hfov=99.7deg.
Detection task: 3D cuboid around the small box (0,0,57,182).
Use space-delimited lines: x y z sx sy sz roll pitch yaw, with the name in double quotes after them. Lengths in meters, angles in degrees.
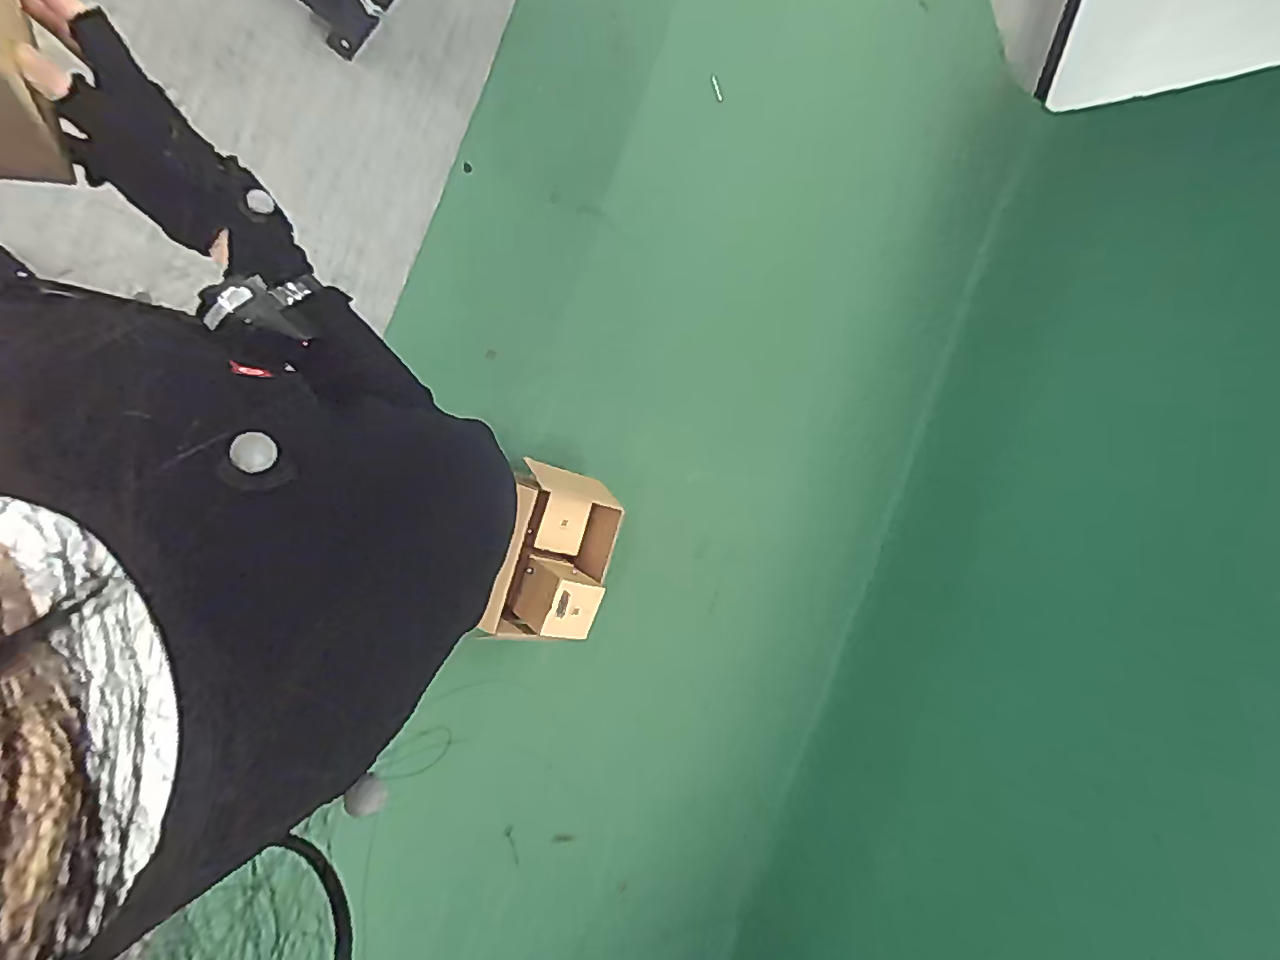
-0.424 -0.268 0.249 0.168 0.176 0.179 -14 104 -35 "small box"
